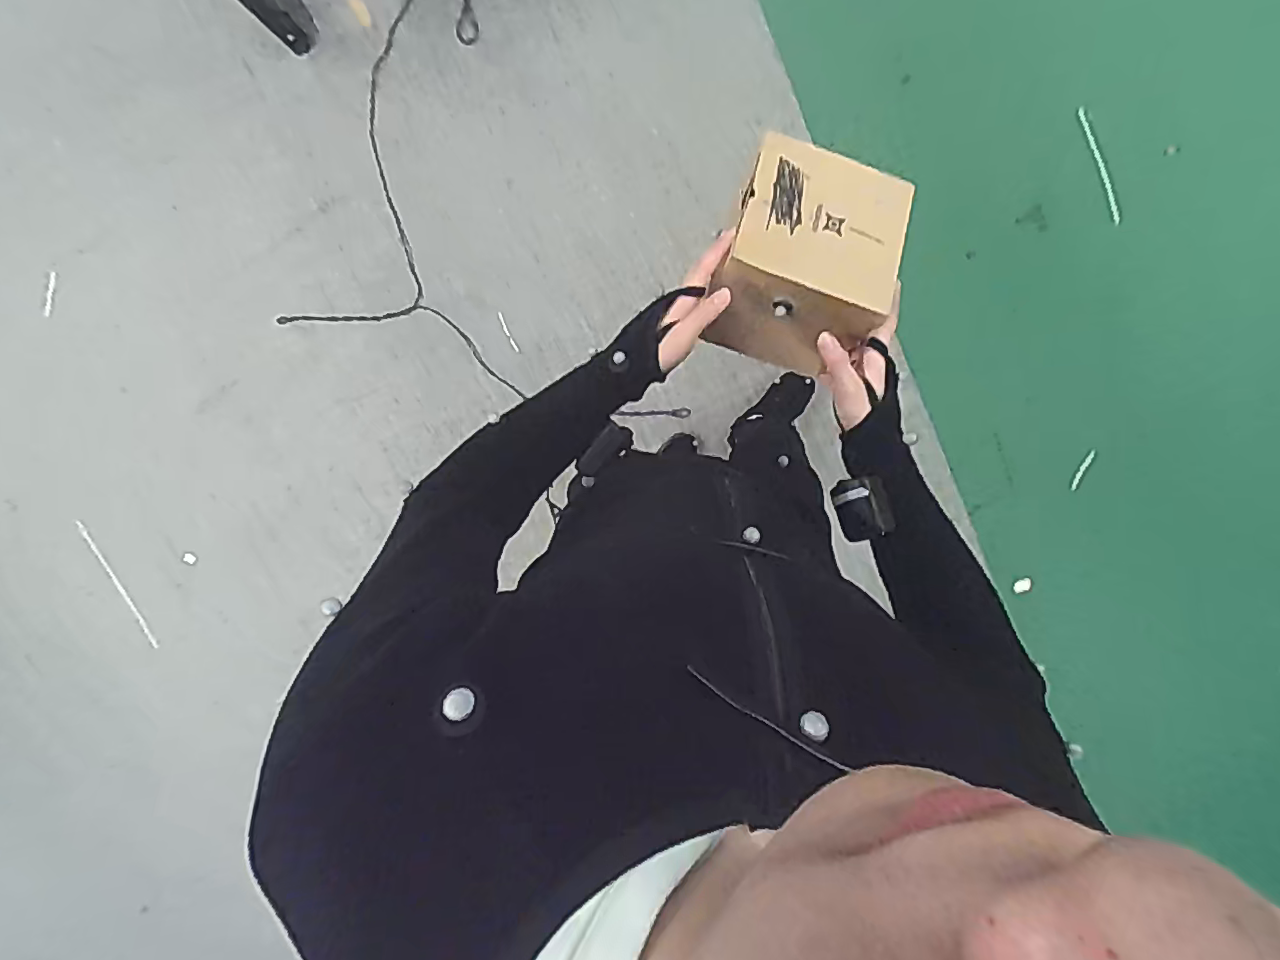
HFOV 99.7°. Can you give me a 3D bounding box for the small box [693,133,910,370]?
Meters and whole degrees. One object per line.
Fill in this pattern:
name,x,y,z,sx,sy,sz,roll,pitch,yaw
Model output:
small box,0.176,-0.250,0.635,0.179,0.176,0.168,18,76,-5
